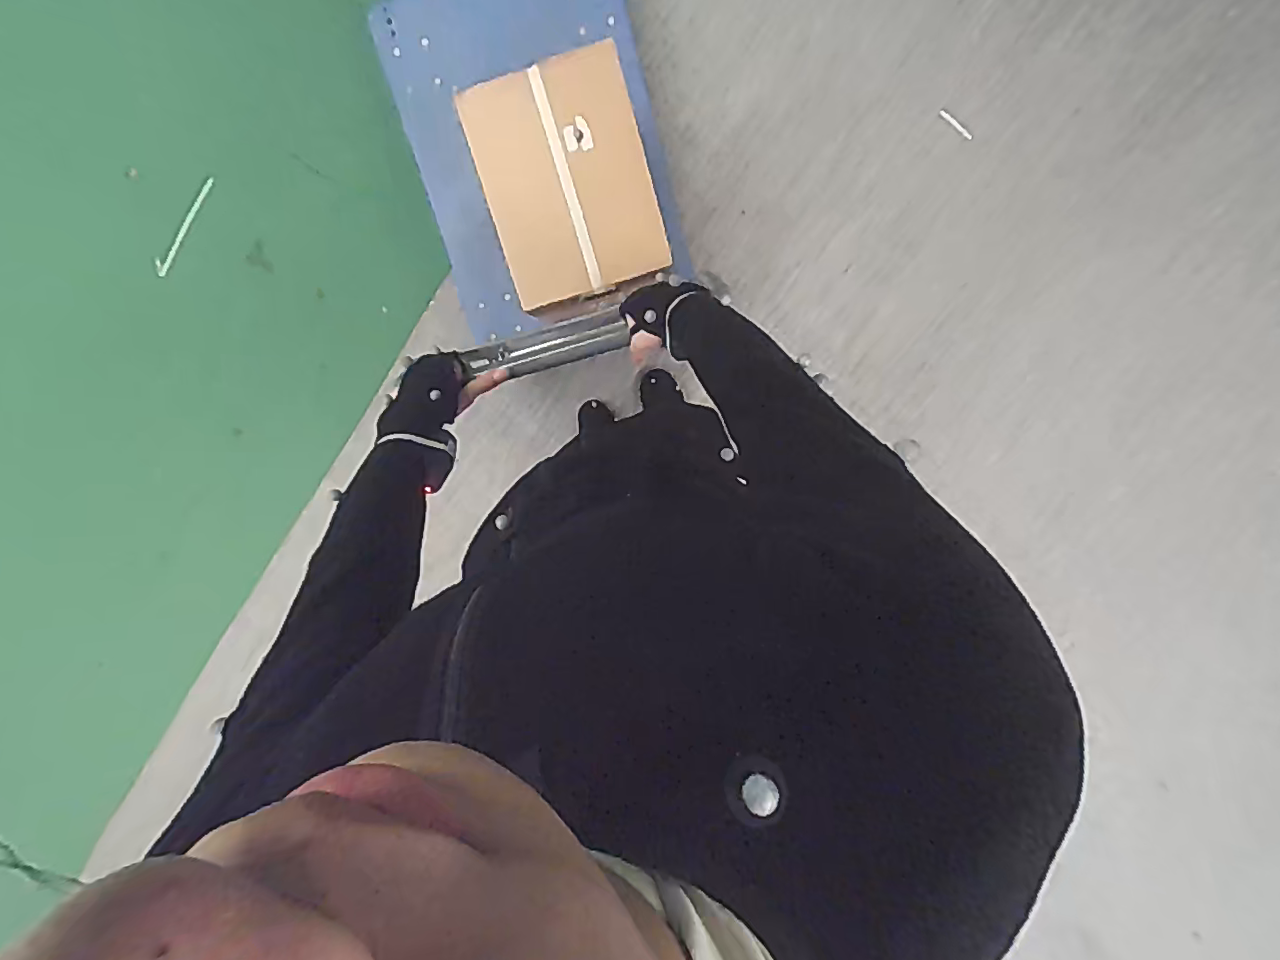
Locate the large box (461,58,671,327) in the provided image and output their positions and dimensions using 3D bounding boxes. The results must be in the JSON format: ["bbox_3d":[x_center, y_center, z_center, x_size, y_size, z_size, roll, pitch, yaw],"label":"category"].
[{"bbox_3d":[-0.136,-0.588,1.196,0.320,0.320,0.408,-16,101,4],"label":"large box"}]
